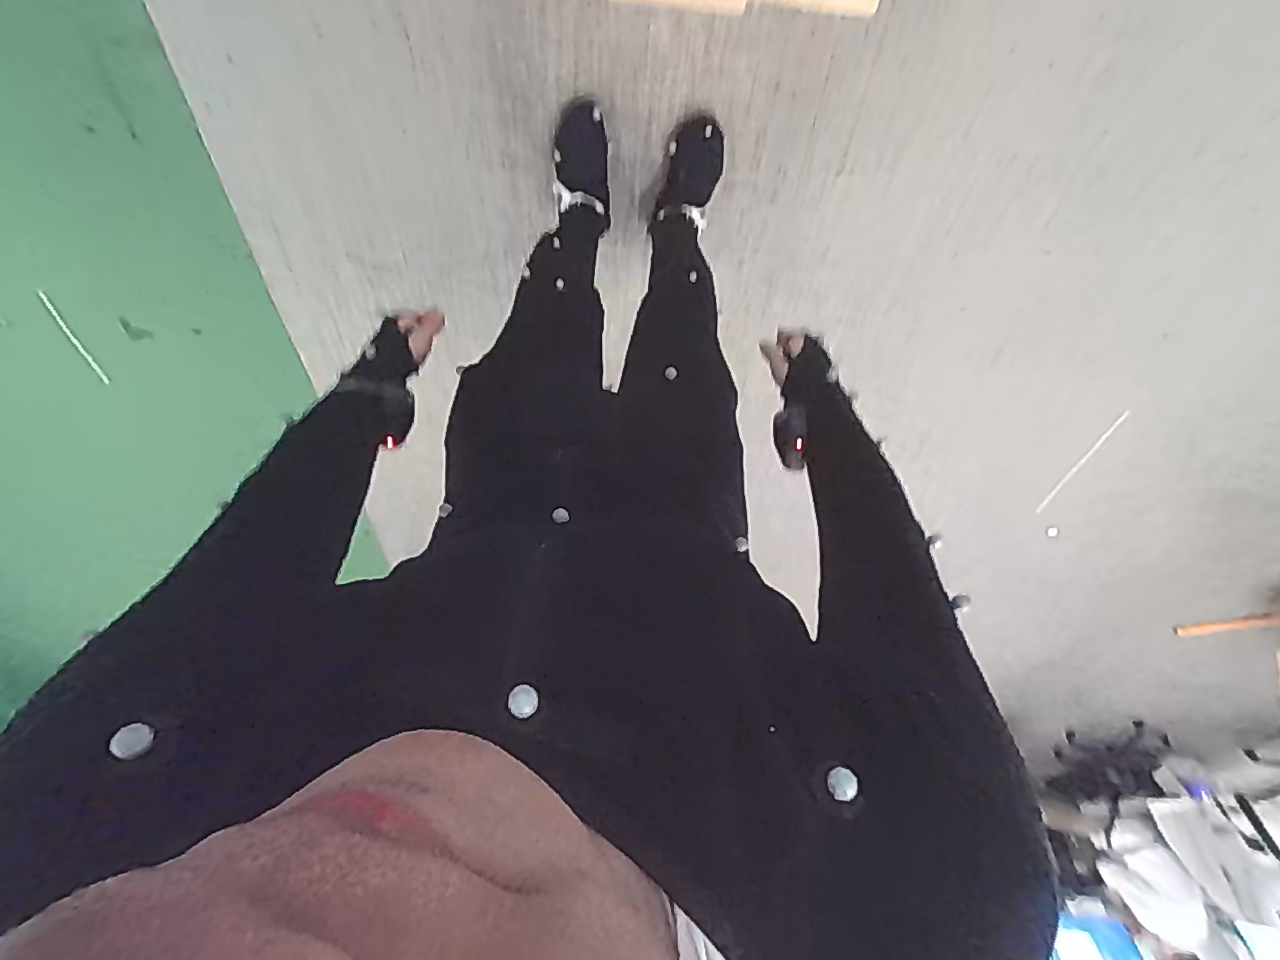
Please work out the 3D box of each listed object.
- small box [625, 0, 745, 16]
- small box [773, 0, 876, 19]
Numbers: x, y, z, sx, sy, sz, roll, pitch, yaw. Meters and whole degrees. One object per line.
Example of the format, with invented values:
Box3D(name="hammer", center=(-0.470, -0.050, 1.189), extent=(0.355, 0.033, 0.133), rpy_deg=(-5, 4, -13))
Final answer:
Box3D(name="small box", center=(0.049, -0.681, 0.649), extent=(0.179, 0.176, 0.168), rpy_deg=(4, 136, -2))
Box3D(name="small box", center=(0.315, -0.893, 0.893), extent=(0.168, 0.176, 0.179), rpy_deg=(4, 135, -2))
